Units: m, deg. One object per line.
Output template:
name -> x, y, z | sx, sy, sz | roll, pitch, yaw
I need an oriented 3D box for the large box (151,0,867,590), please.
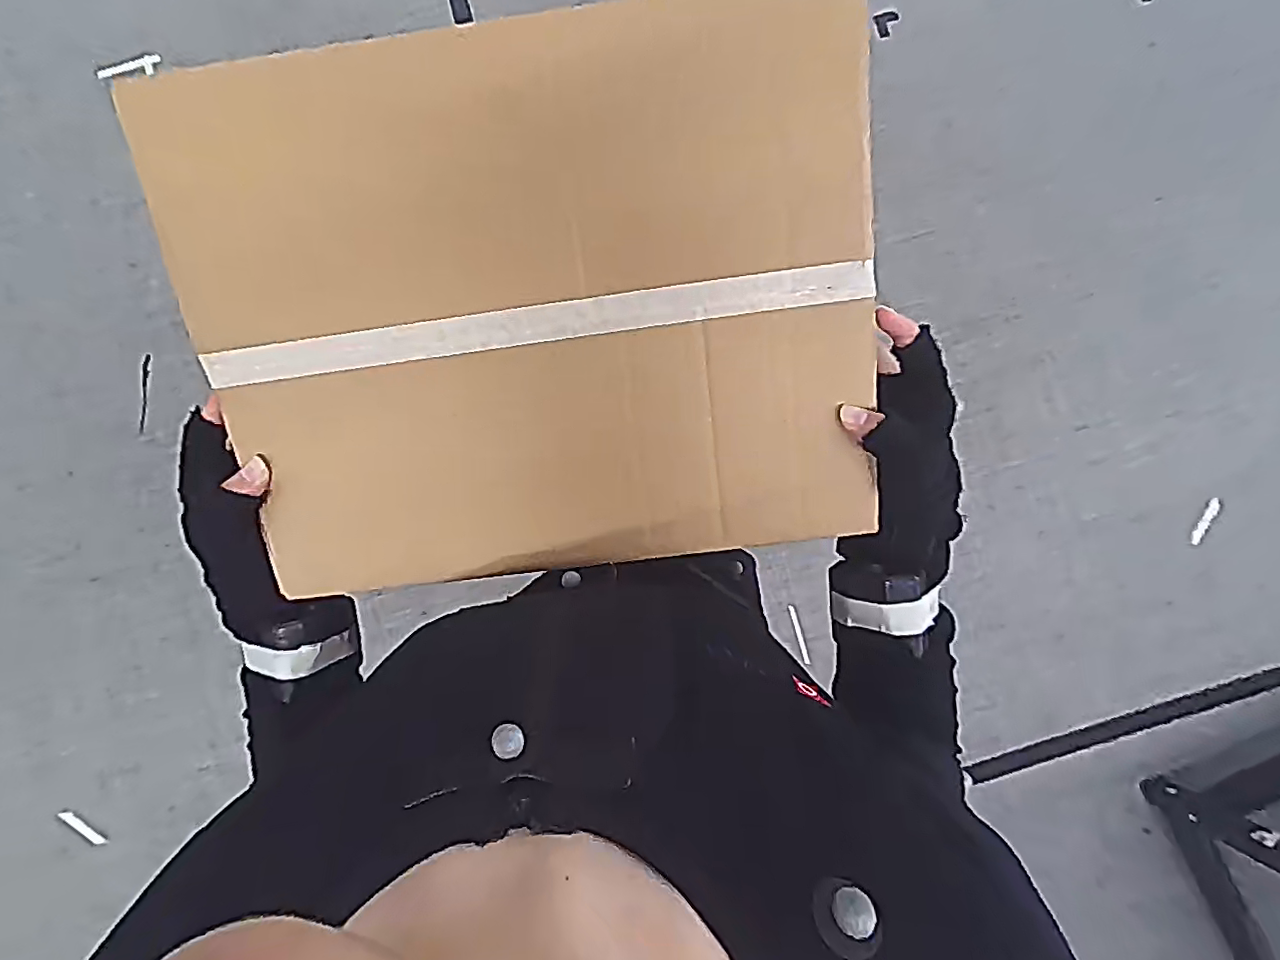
large box -> -0.064, -0.131, 0.478 | 0.408, 0.320, 0.320 | -7, 105, 2
